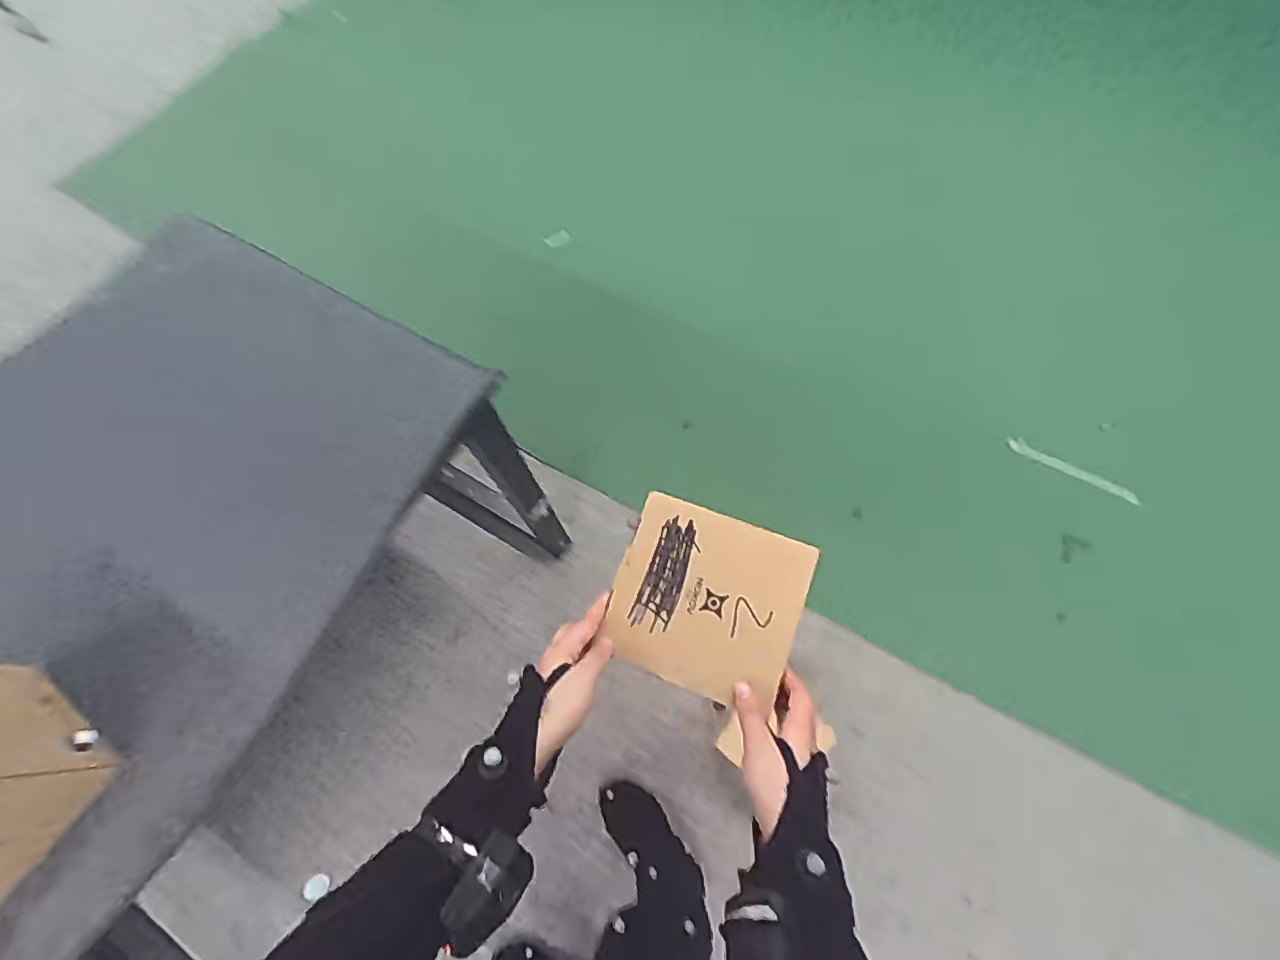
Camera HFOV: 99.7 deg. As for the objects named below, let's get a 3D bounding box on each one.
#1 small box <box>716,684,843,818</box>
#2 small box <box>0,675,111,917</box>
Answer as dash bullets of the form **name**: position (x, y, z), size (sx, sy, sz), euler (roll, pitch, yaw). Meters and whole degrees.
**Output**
- **small box**: position (0.272, 0.535, 1.095), size (0.179, 0.176, 0.168), euler (37, 73, 16)
- **small box**: position (-0.615, 0.279, 0.455), size (0.168, 0.176, 0.179), euler (31, 74, 16)
